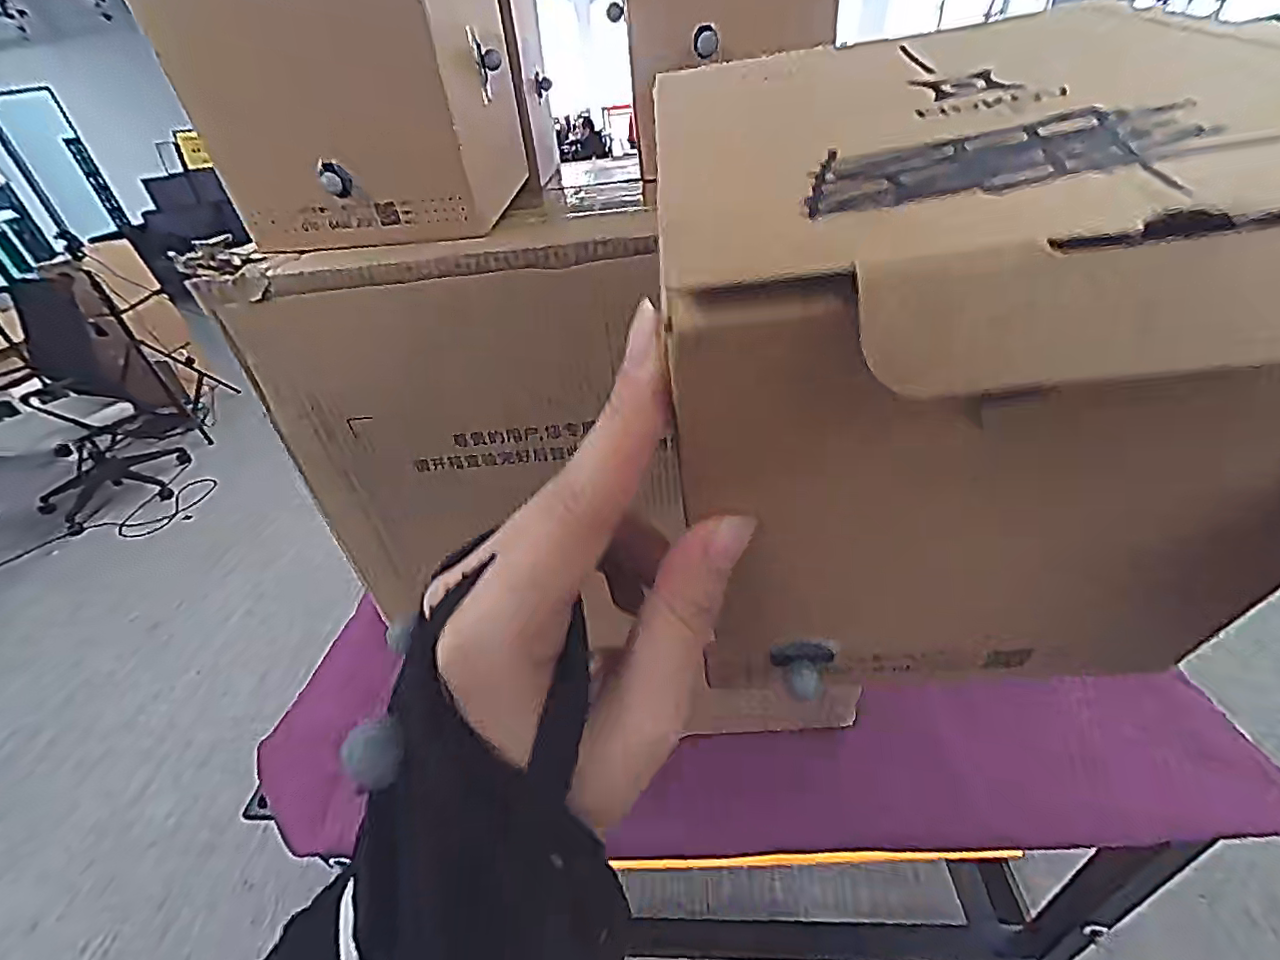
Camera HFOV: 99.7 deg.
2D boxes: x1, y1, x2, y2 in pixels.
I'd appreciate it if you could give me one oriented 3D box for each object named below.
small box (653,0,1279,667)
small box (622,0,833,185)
[{"bbox_3d":[0.097,-0.043,0.201,0.168,0.176,0.179,-5,46,7],"label":"small box"},{"bbox_3d":[0.074,-0.381,0.498,0.168,0.176,0.179,-6,35,3],"label":"small box"}]
